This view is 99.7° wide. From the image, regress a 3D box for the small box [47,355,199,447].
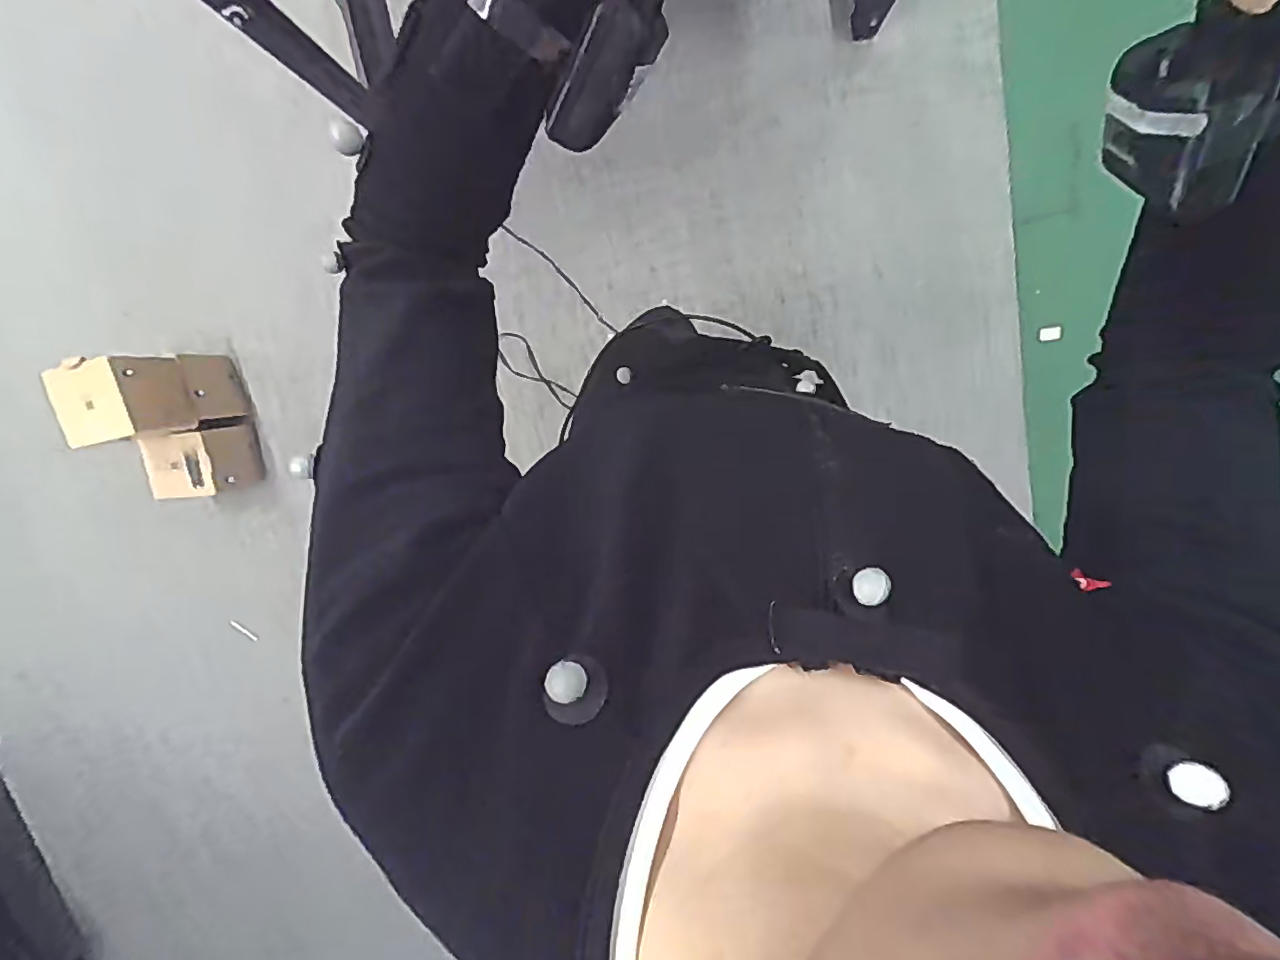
[{"bbox_3d":[-1.191,-0.188,1.262,0.168,0.176,0.179,-12,100,5],"label":"small box"}]
